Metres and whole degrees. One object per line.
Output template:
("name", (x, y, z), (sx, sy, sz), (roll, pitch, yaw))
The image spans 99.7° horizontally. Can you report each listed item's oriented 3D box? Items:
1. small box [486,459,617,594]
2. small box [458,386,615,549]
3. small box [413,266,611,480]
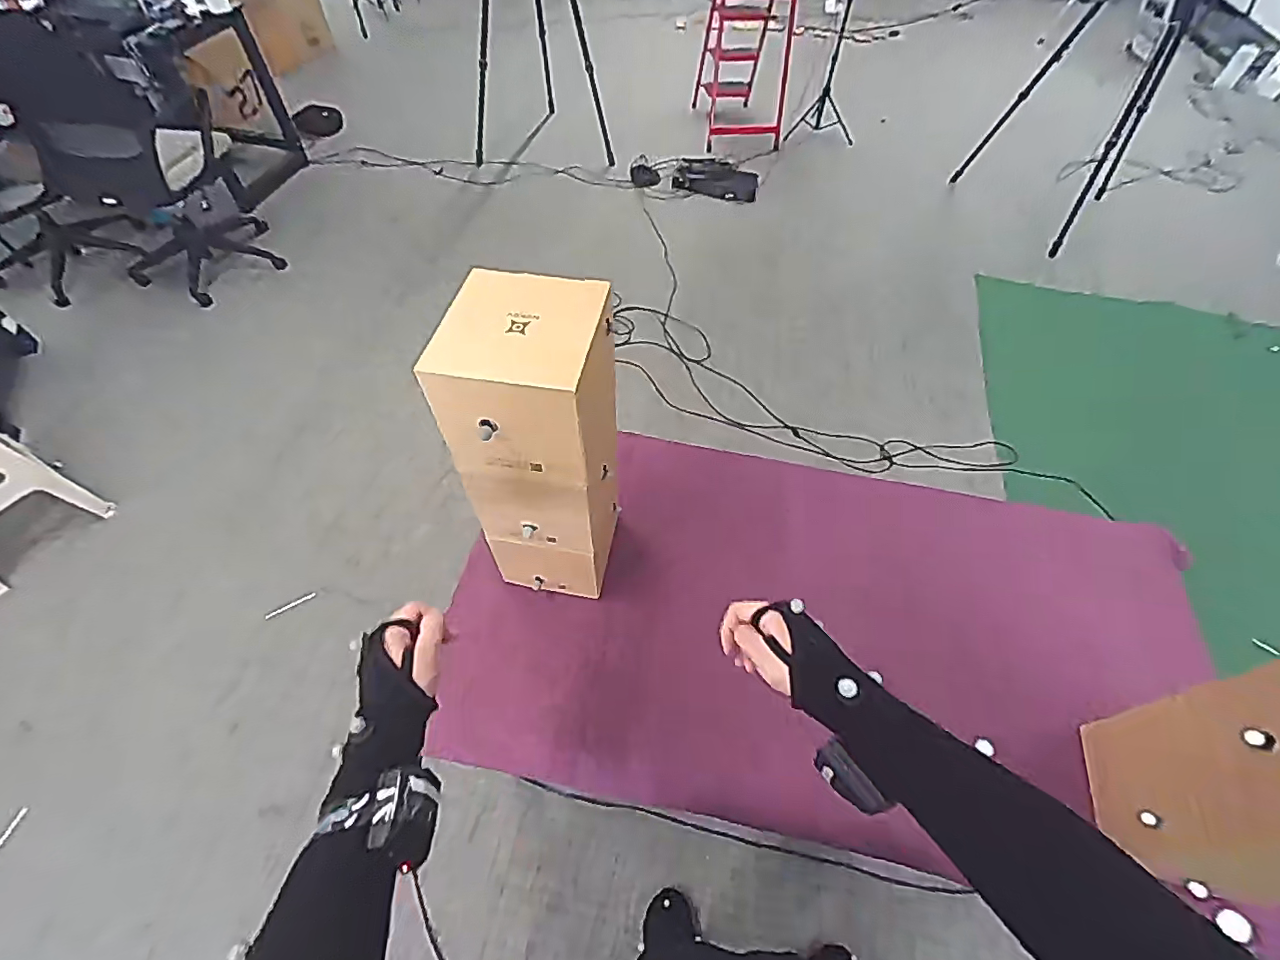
("small box", (-0.136, 0.067, 0.901), (0.168, 0.176, 0.179), (9, 56, 5))
("small box", (-0.132, -0.027, 0.767), (0.168, 0.176, 0.179), (9, 56, 5))
("small box", (-0.129, -0.120, 0.634), (0.168, 0.176, 0.179), (8, 55, 5))
